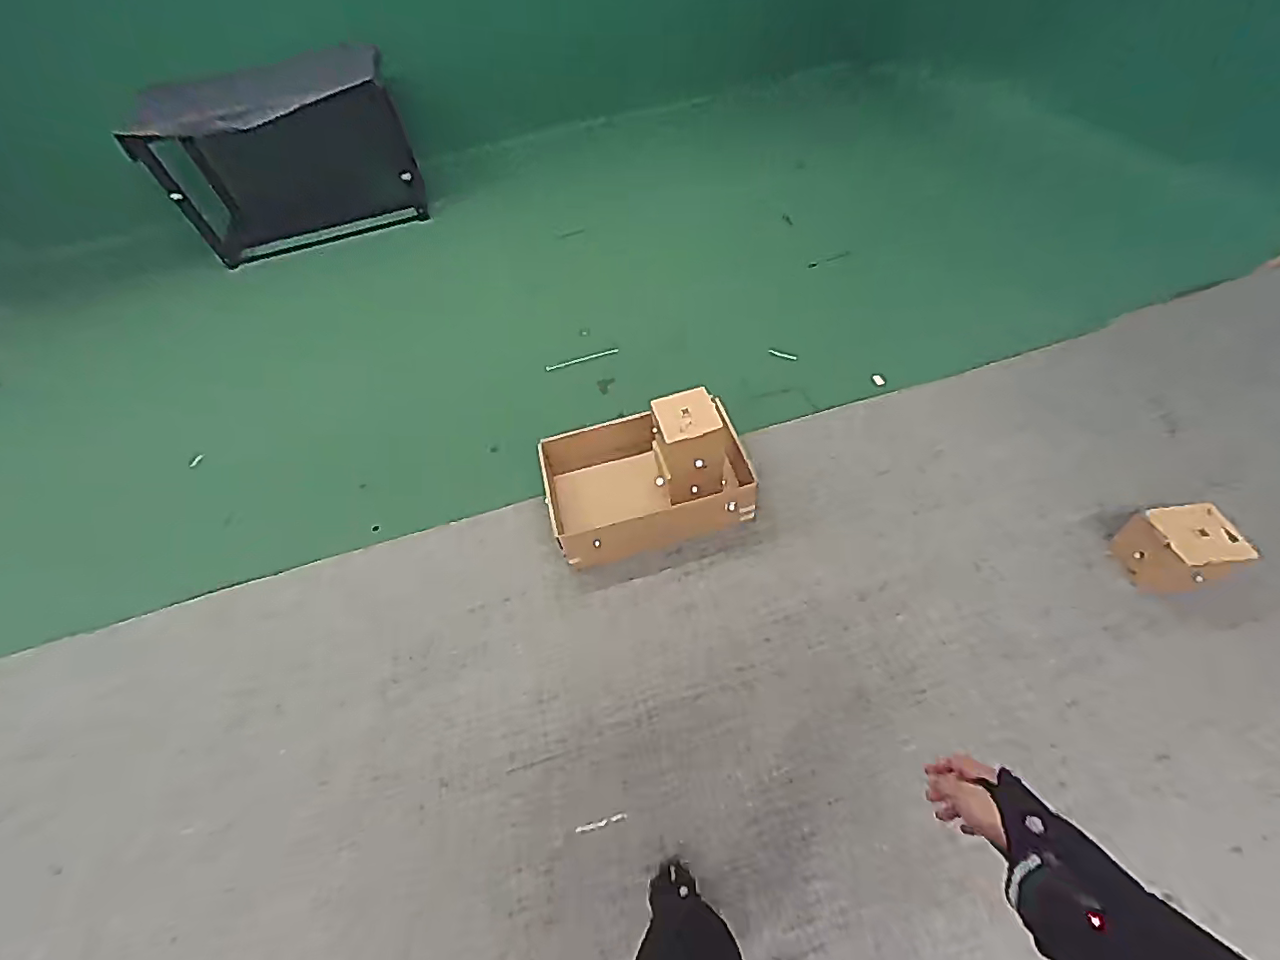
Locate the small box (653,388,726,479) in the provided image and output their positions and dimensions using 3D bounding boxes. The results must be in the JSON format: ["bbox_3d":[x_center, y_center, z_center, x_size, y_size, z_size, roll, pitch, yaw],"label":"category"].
[{"bbox_3d":[0.142,-0.131,1.554,0.168,0.176,0.179,-16,53,-3],"label":"small box"}]

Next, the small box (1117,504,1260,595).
[{"bbox_3d":[1.395,0.185,1.400,0.179,0.176,0.168,-8,52,4],"label":"small box"}]
